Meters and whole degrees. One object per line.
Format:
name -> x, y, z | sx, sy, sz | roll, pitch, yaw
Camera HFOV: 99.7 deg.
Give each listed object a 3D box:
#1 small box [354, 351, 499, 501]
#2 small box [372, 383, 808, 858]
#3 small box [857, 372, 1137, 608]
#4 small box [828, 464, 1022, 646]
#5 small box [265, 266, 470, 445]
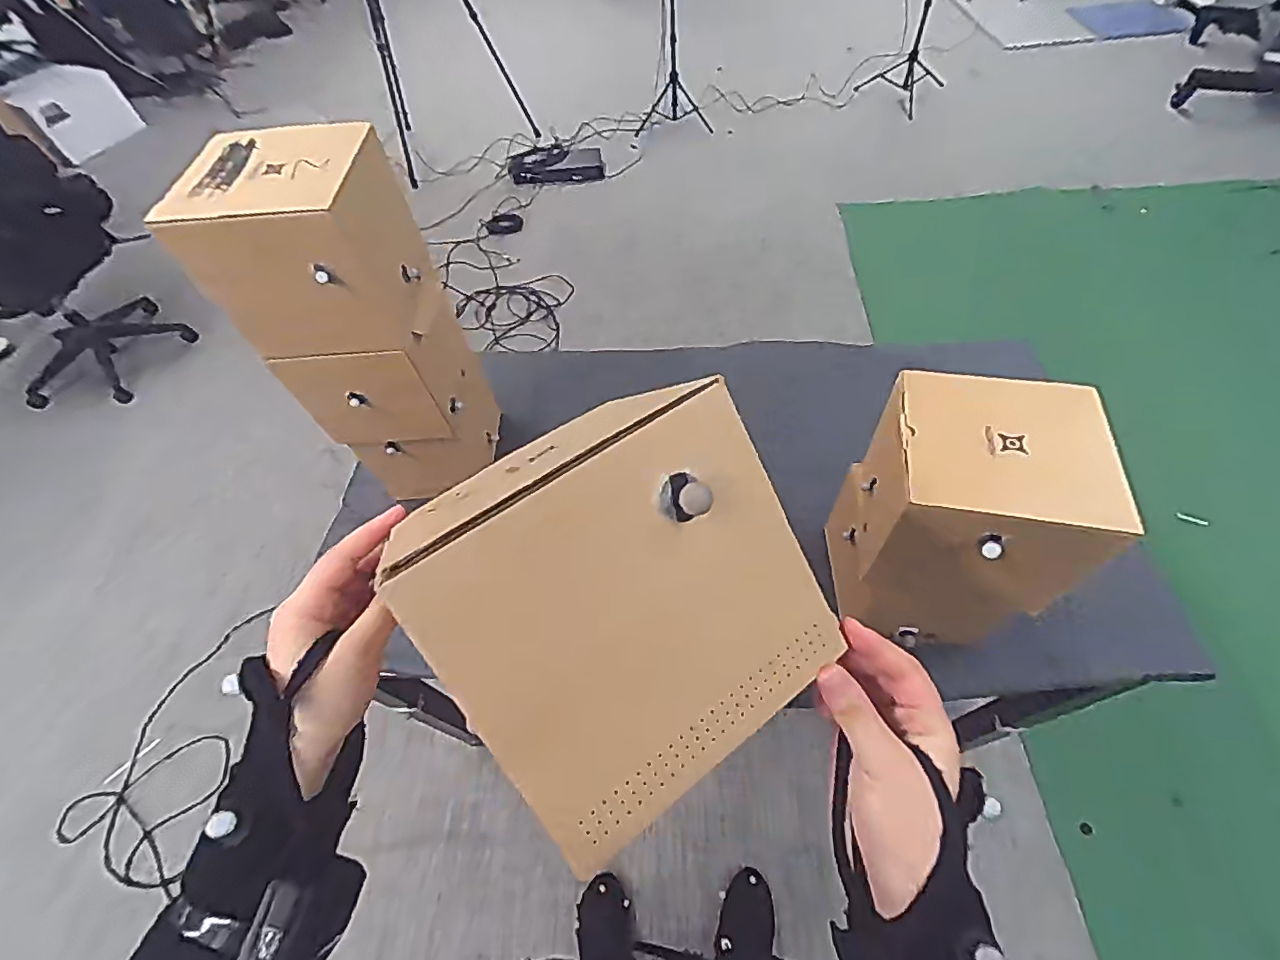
small box -> -0.338, -0.085, 0.883 | 0.168, 0.176, 0.179 | -4, 56, 2
small box -> -0.025, 0.062, 0.325 | 0.179, 0.176, 0.168 | -33, 14, -16
small box -> 0.333, 0.015, 0.548 | 0.179, 0.176, 0.168 | 8, 56, 13
small box -> 0.347, 0.096, 0.688 | 0.168, 0.176, 0.179 | -1, 55, 6
small box -> -0.350, -0.163, 0.738 | 0.179, 0.176, 0.168 | -4, 57, 3
